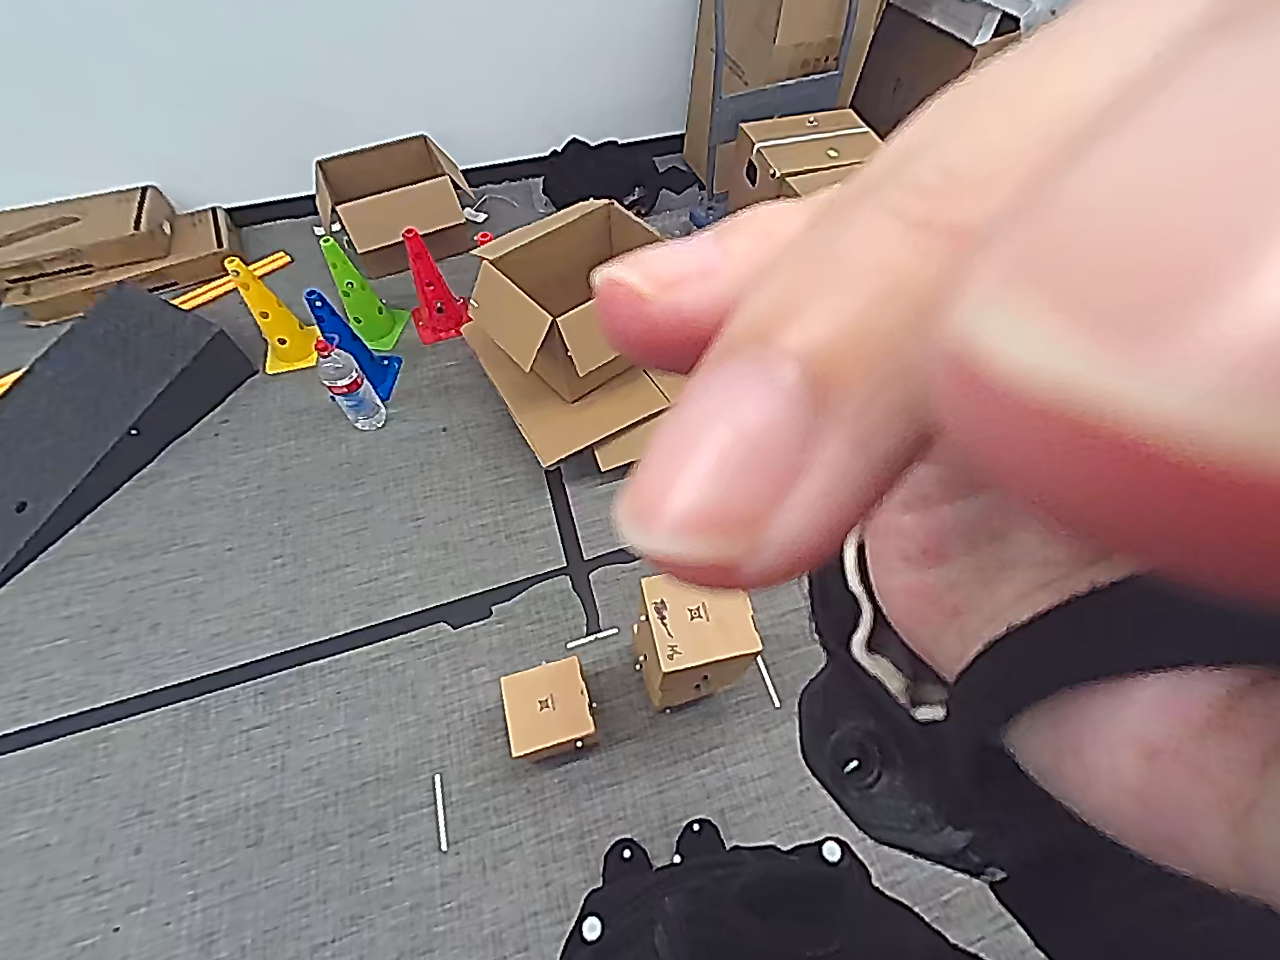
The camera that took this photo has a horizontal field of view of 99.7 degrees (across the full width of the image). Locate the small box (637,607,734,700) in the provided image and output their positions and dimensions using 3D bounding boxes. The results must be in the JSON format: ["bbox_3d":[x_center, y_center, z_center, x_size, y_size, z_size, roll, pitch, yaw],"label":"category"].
[{"bbox_3d":[0.097,0.346,1.128,0.179,0.176,0.168,-13,61,-9],"label":"small box"}]

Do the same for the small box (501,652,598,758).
[{"bbox_3d":[-0.199,0.511,1.216,0.179,0.176,0.168,-14,60,-10],"label":"small box"}]

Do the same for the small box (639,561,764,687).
[{"bbox_3d":[0.101,0.265,0.985,0.179,0.176,0.168,-9,60,-8],"label":"small box"}]

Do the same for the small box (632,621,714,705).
[{"bbox_3d":[0.084,0.417,1.277,0.168,0.176,0.179,-15,60,-10],"label":"small box"}]
